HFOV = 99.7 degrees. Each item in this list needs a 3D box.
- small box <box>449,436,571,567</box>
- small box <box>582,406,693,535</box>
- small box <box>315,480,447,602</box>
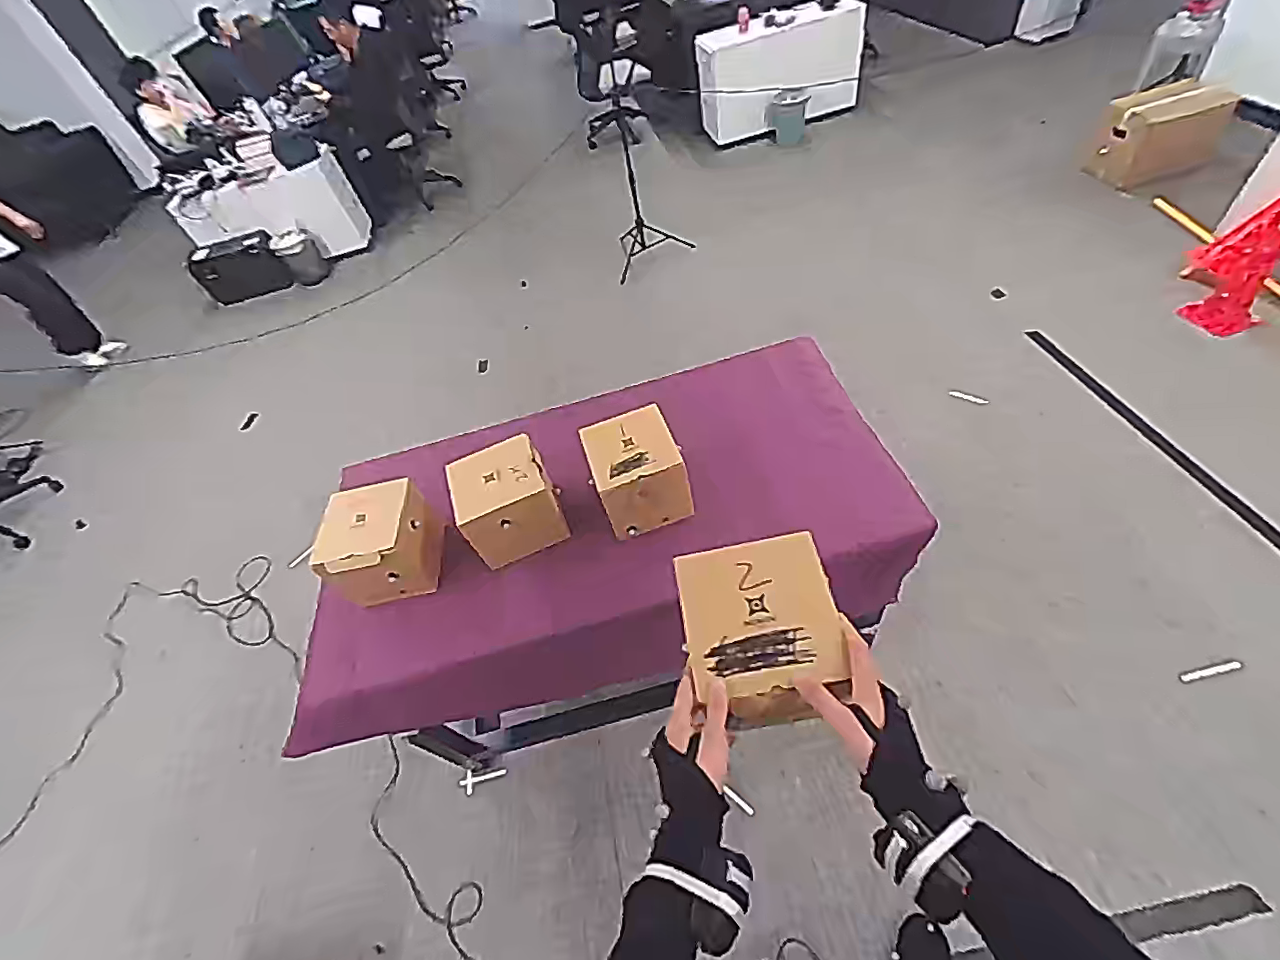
[{"bbox_3d":[-0.260,0.049,1.094,0.179,0.176,0.168,-23,50,-5],"label":"small box"},{"bbox_3d":[-0.001,-0.011,1.081,0.168,0.176,0.179,-19,49,-3],"label":"small box"},{"bbox_3d":[-0.507,0.131,1.090,0.168,0.176,0.179,-12,49,3],"label":"small box"}]
